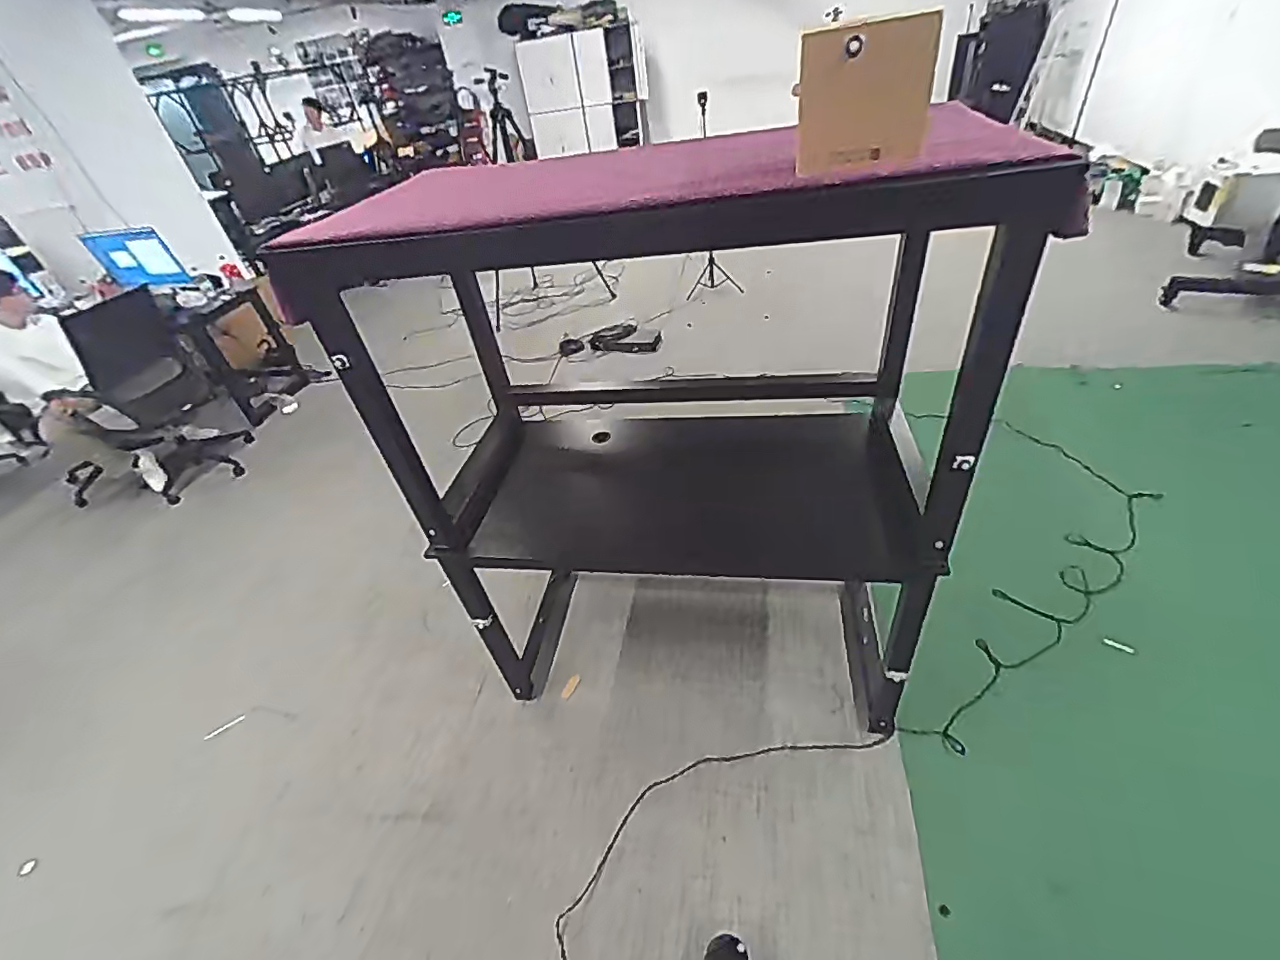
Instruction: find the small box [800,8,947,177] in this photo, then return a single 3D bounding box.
[{"bbox_3d":[0.318,-0.545,0.770,0.168,0.176,0.179,2,40,17],"label":"small box"}]
